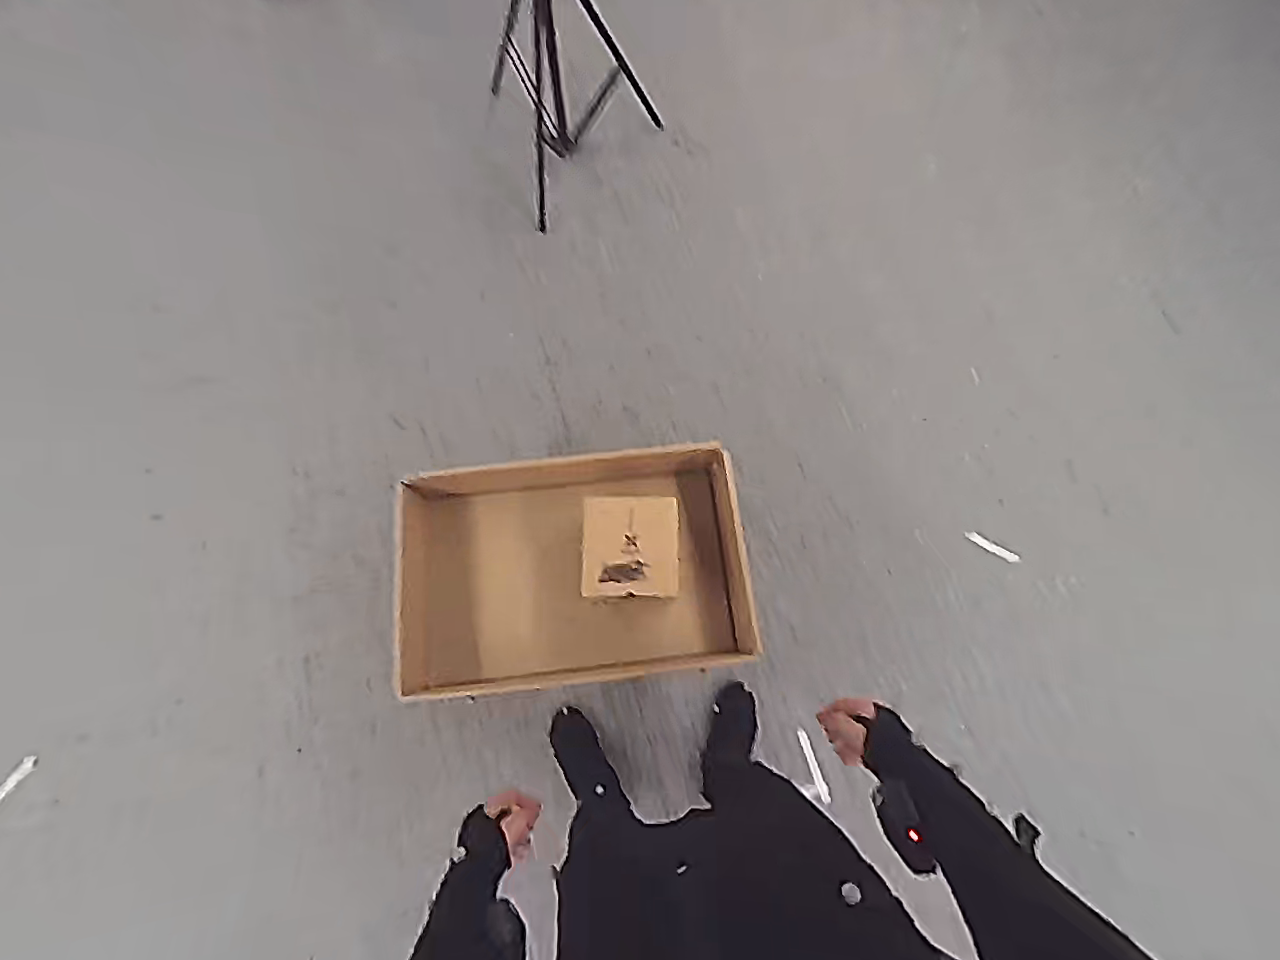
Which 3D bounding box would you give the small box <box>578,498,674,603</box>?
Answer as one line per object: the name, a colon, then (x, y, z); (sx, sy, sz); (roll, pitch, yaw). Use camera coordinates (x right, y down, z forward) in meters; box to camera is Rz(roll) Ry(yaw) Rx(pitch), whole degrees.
small box: (-0.022, 0.137, 1.004); (0.168, 0.176, 0.179); (0, 74, -1)
